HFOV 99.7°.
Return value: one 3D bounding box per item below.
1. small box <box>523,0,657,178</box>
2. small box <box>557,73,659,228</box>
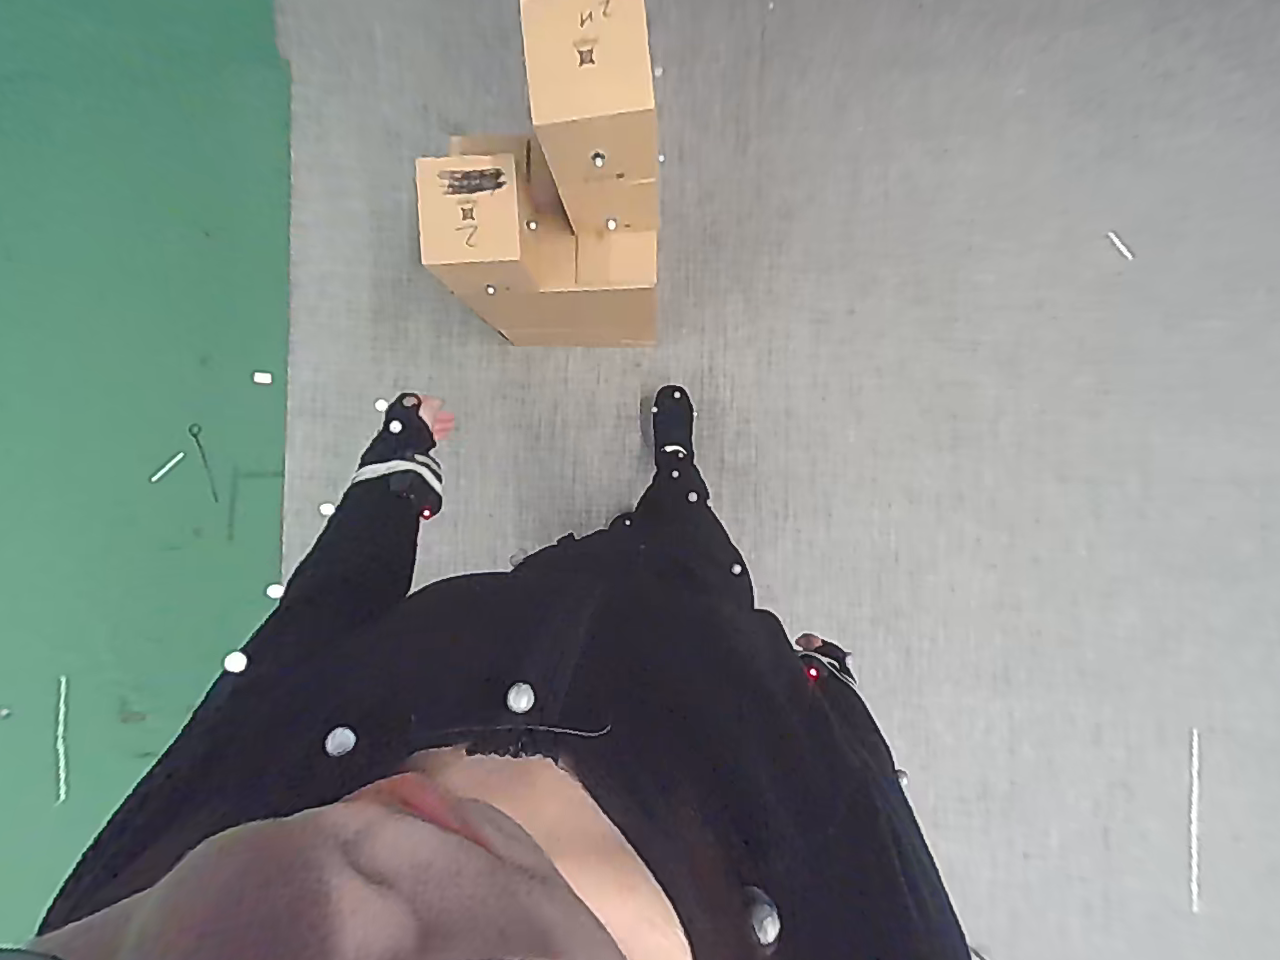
[{"bbox_3d":[-0.064,-0.570,0.794,0.168,0.176,0.179,-5,91,3],"label":"small box"},{"bbox_3d":[-0.052,-0.574,0.958,0.168,0.176,0.179,-2,92,4],"label":"small box"}]
